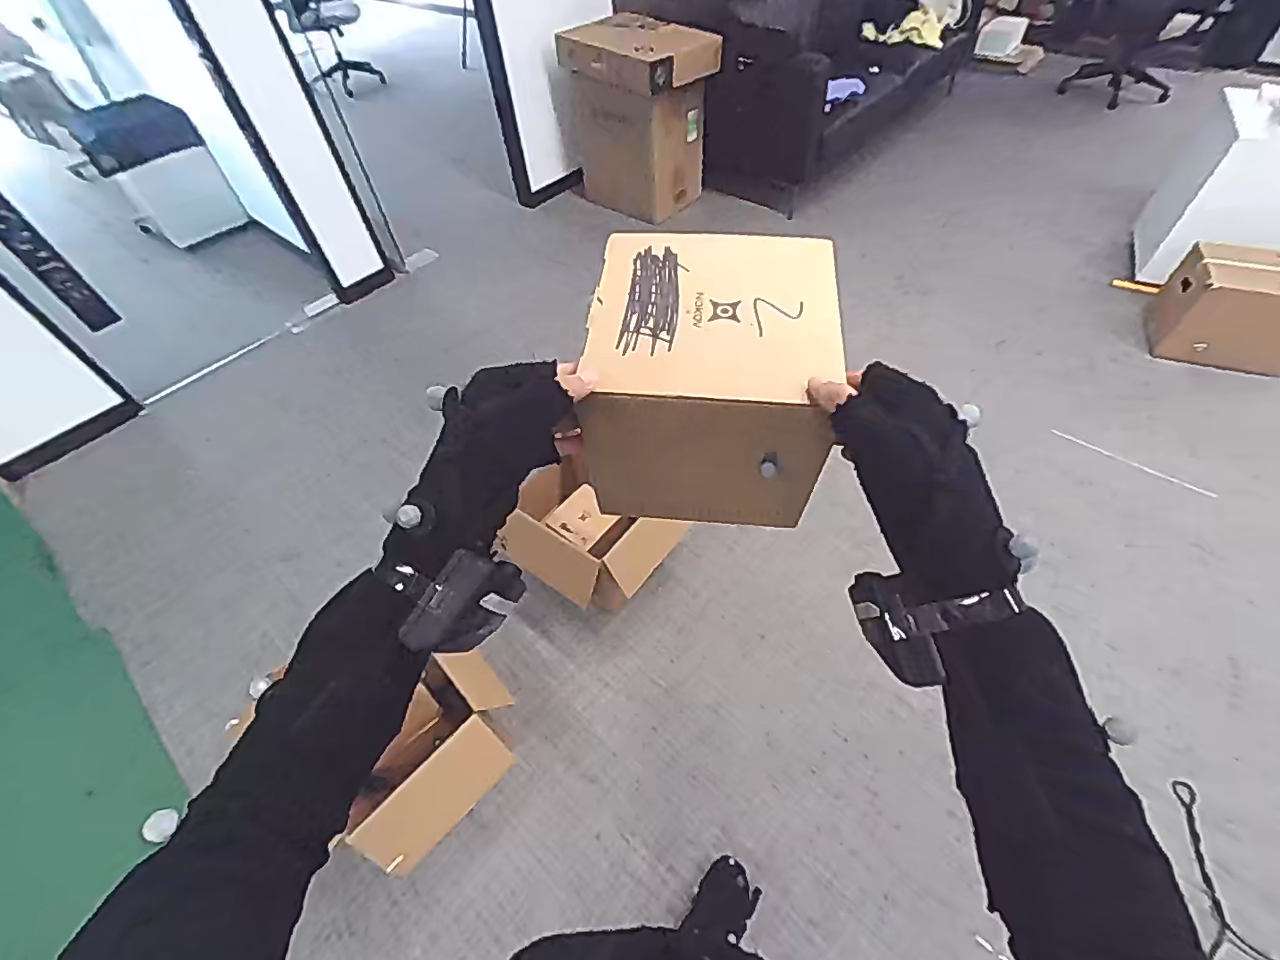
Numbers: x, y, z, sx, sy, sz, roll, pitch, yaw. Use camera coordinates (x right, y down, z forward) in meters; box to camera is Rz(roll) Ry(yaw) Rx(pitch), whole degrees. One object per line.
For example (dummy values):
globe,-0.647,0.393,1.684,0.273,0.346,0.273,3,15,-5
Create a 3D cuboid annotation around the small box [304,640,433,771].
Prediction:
small box,-0.575,0.490,1.174,0.179,0.176,0.168,-37,57,-25
